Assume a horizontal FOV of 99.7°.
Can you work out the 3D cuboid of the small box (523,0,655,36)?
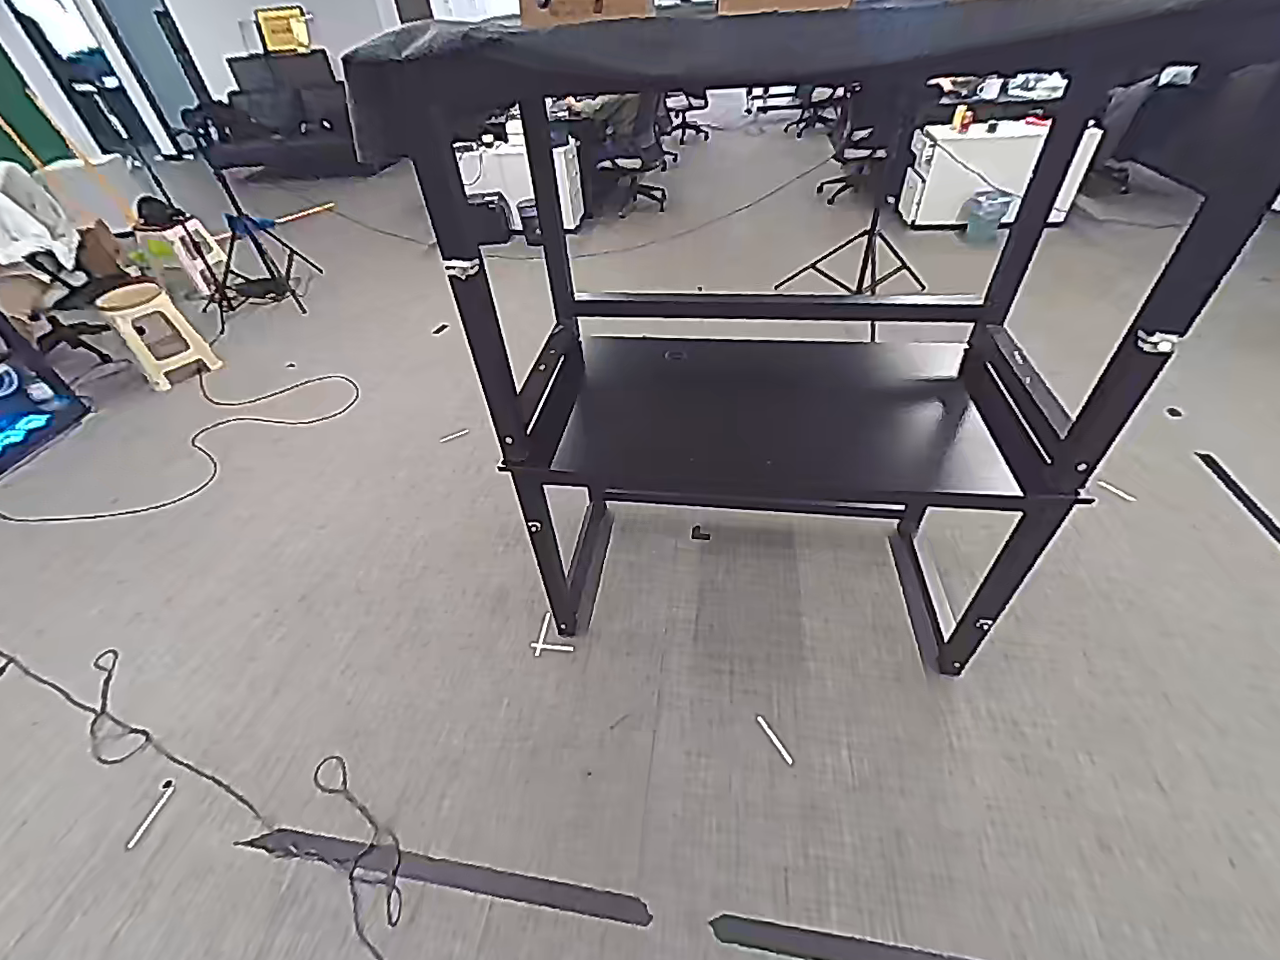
[{"bbox_3d":[-0.067,-0.702,0.714,0.168,0.176,0.179,2,41,6],"label":"small box"}]

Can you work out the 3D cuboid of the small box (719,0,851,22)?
[{"bbox_3d":[0.187,-0.693,0.685,0.168,0.176,0.179,3,41,8],"label":"small box"}]
